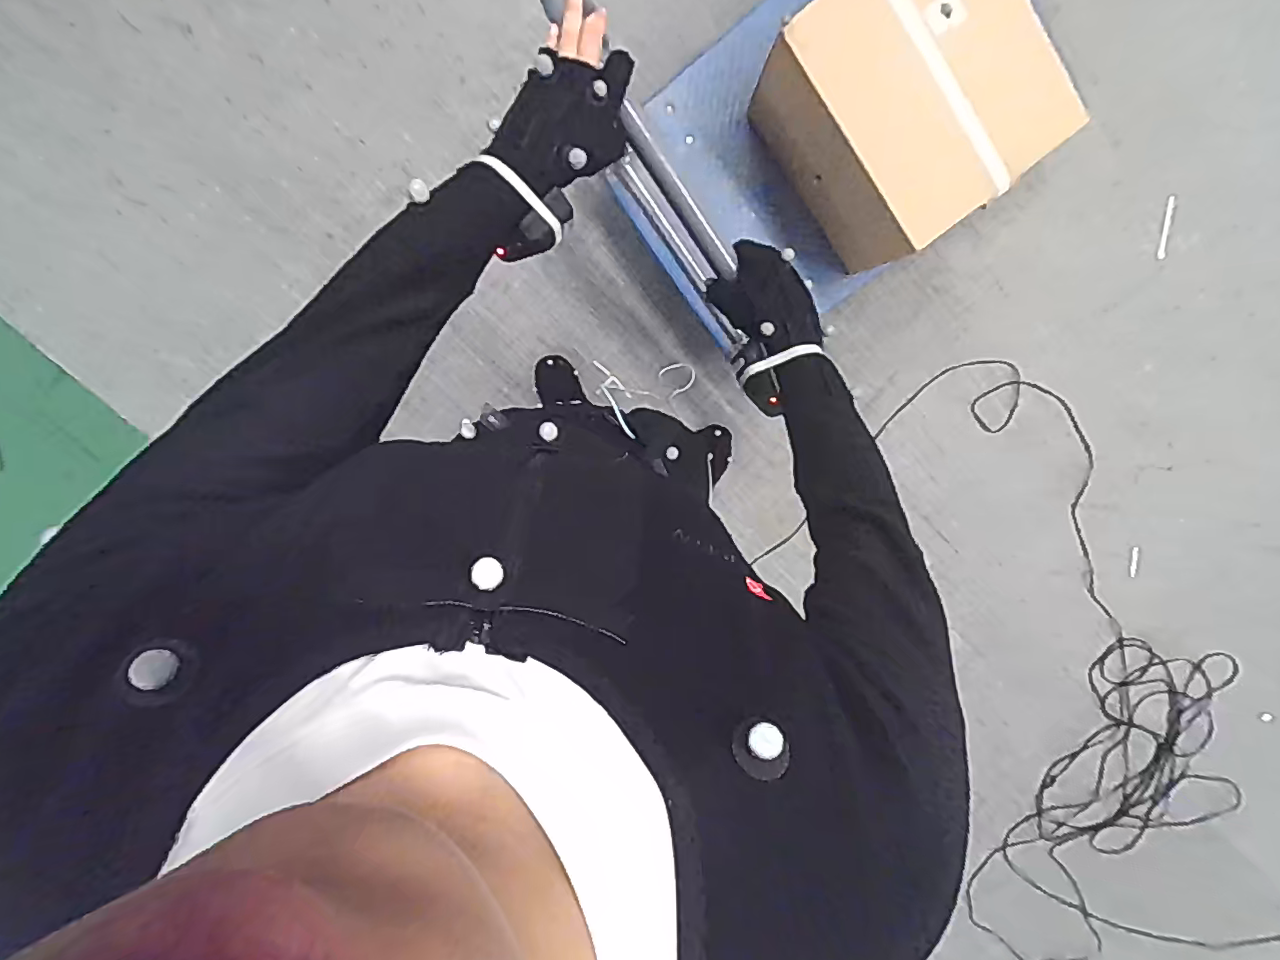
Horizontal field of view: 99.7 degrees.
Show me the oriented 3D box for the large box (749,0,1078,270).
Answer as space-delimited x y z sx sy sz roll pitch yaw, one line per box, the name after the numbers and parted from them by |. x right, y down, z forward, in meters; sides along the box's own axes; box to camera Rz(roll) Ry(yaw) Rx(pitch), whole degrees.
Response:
0.454 -0.660 0.983 0.320 0.320 0.408 -36 100 9 | large box
